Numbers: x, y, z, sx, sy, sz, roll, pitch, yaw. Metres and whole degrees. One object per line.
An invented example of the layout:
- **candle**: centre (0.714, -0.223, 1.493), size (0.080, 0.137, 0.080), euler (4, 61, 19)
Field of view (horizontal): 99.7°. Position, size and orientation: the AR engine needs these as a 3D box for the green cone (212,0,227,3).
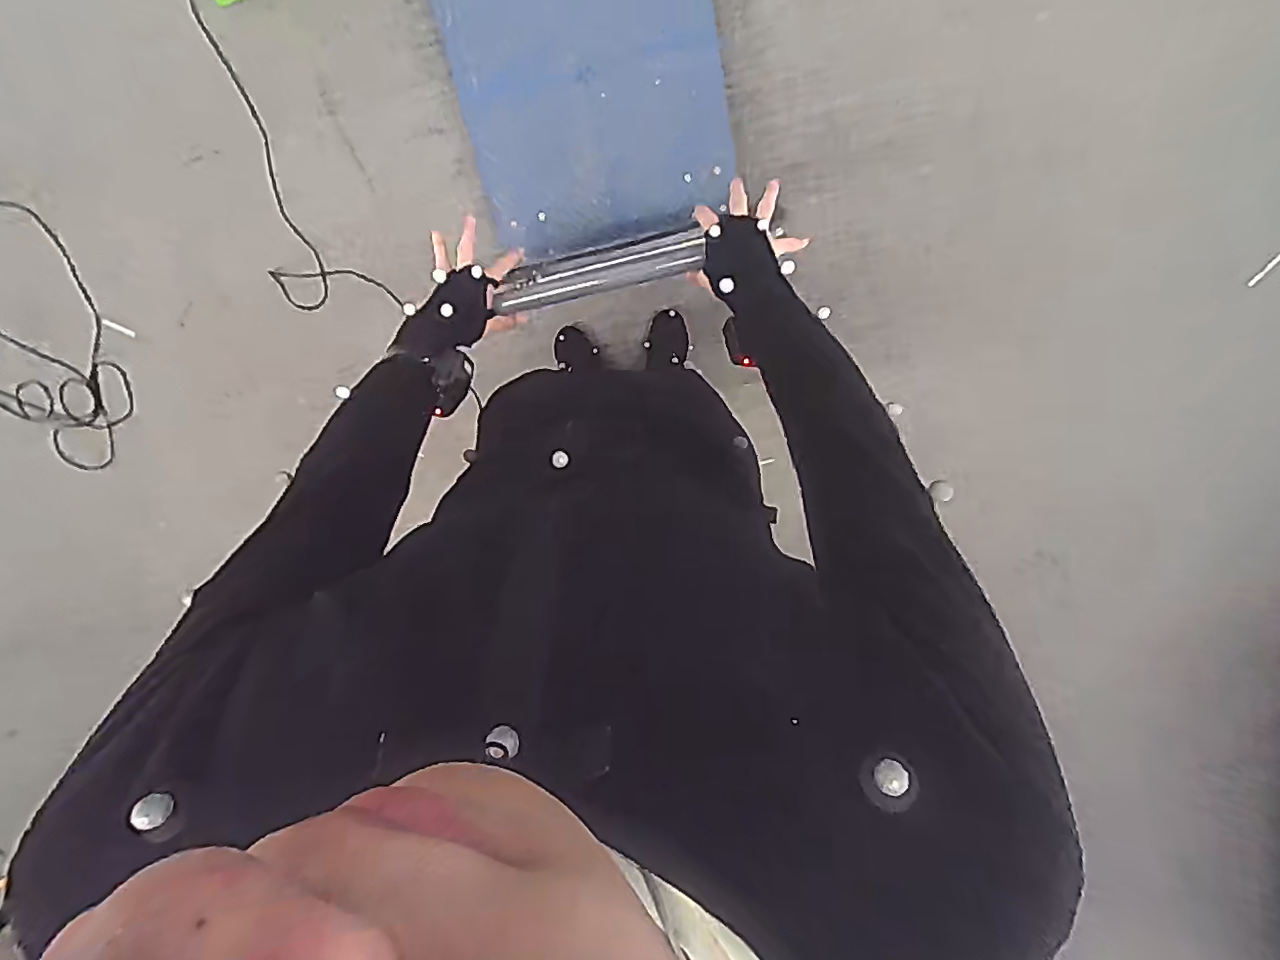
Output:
- **green cone**: centre (-0.986, -1.204, 1.101), size (0.202, 0.368, 0.200), euler (-16, 108, 10)
